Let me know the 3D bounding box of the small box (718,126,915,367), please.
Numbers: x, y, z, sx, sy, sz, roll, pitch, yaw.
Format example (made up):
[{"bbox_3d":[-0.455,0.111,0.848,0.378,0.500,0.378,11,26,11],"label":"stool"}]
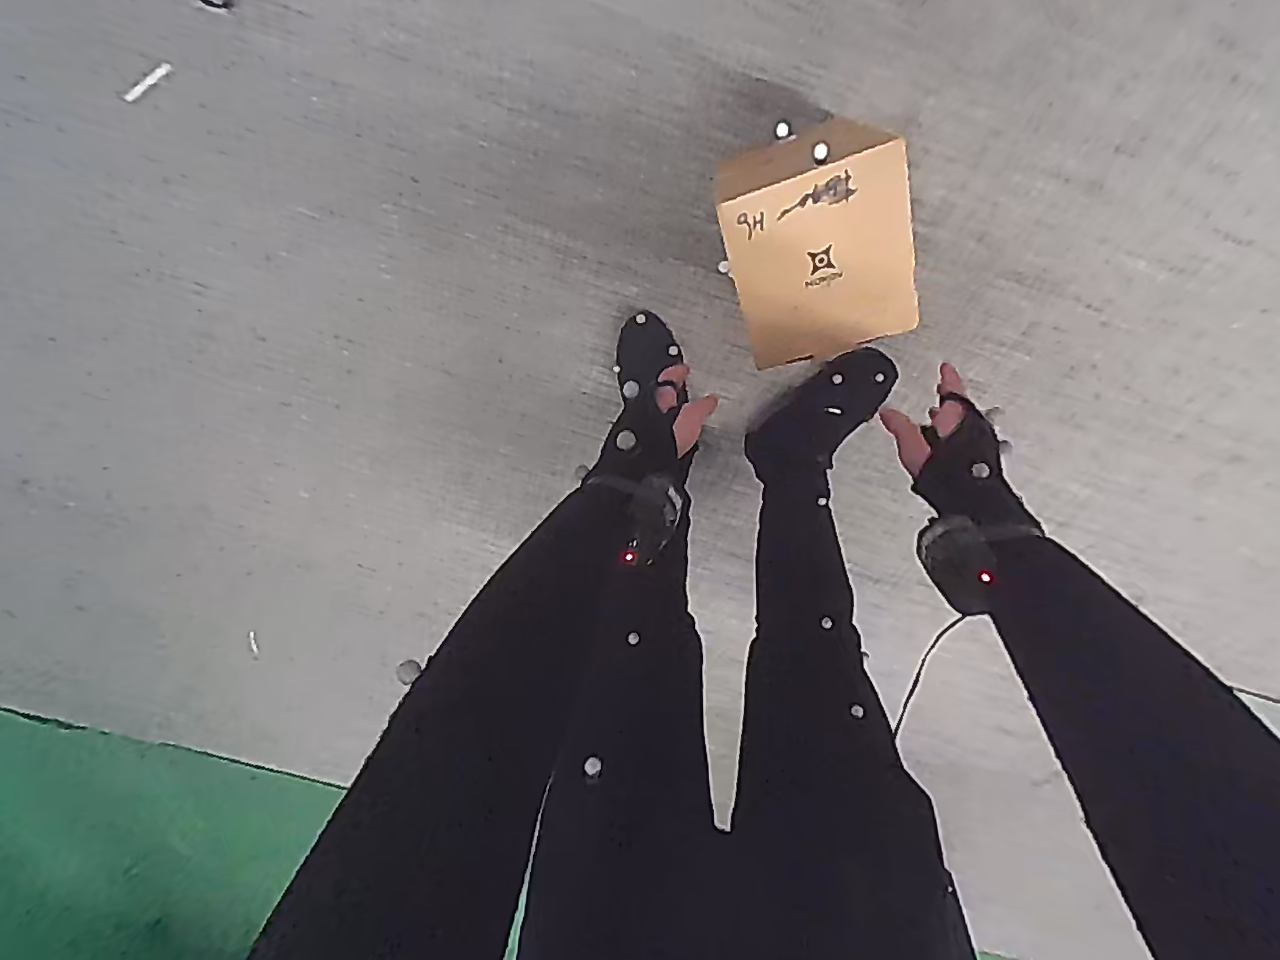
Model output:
[{"bbox_3d":[0.185,-0.254,0.587,0.168,0.176,0.179,-13,125,16],"label":"small box"}]

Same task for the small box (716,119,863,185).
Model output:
[{"bbox_3d":[0.203,-0.352,0.719,0.168,0.176,0.179,-13,122,16],"label":"small box"}]
